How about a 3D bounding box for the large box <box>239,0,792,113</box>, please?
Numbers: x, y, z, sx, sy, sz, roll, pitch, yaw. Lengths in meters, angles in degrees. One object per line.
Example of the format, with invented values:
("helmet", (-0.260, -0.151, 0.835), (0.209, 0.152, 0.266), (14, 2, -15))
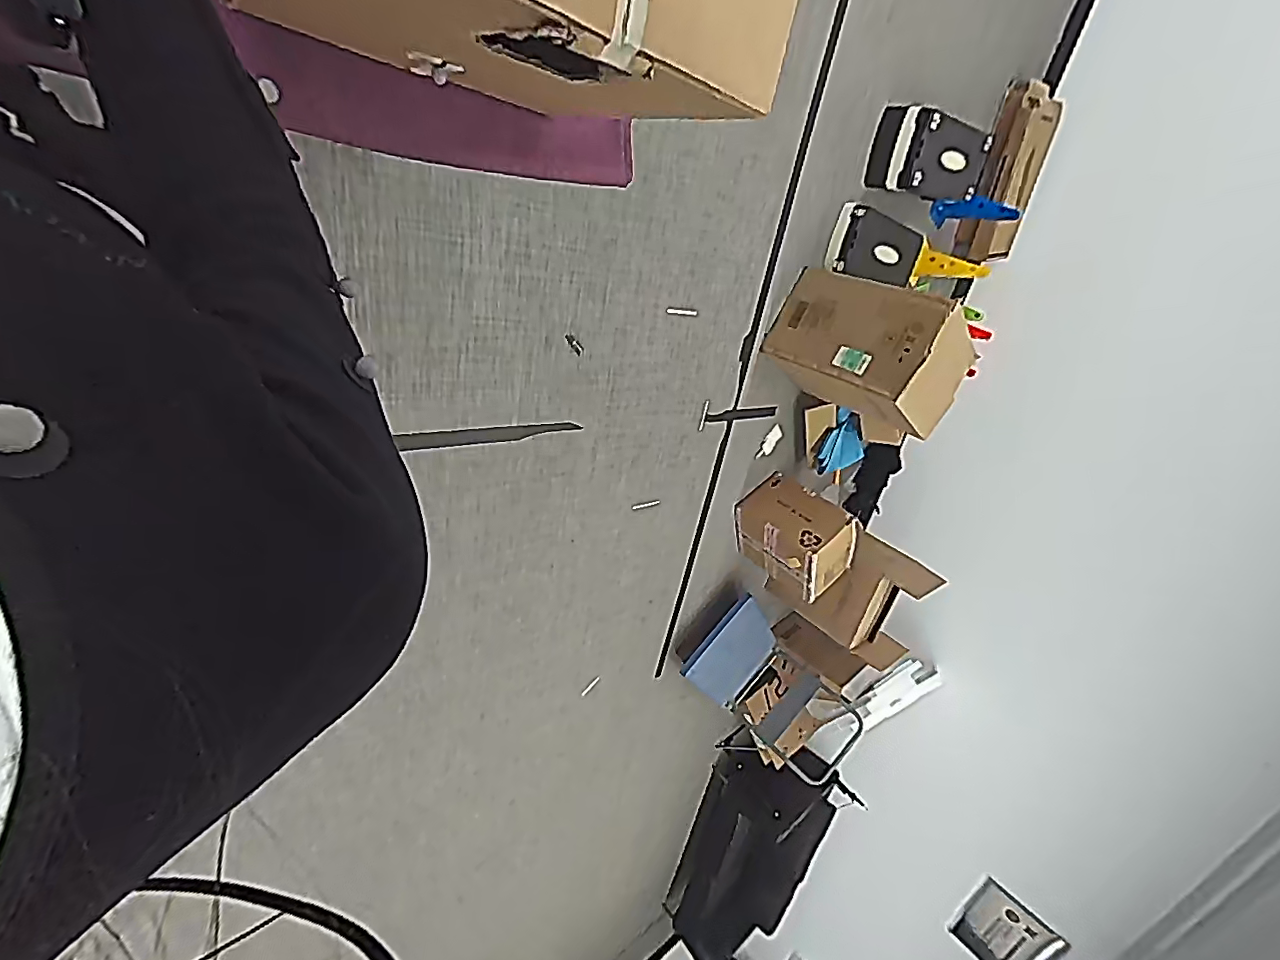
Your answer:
("large box", (-0.076, -0.504, 0.341), (0.320, 0.320, 0.408), (-13, 123, -42))
